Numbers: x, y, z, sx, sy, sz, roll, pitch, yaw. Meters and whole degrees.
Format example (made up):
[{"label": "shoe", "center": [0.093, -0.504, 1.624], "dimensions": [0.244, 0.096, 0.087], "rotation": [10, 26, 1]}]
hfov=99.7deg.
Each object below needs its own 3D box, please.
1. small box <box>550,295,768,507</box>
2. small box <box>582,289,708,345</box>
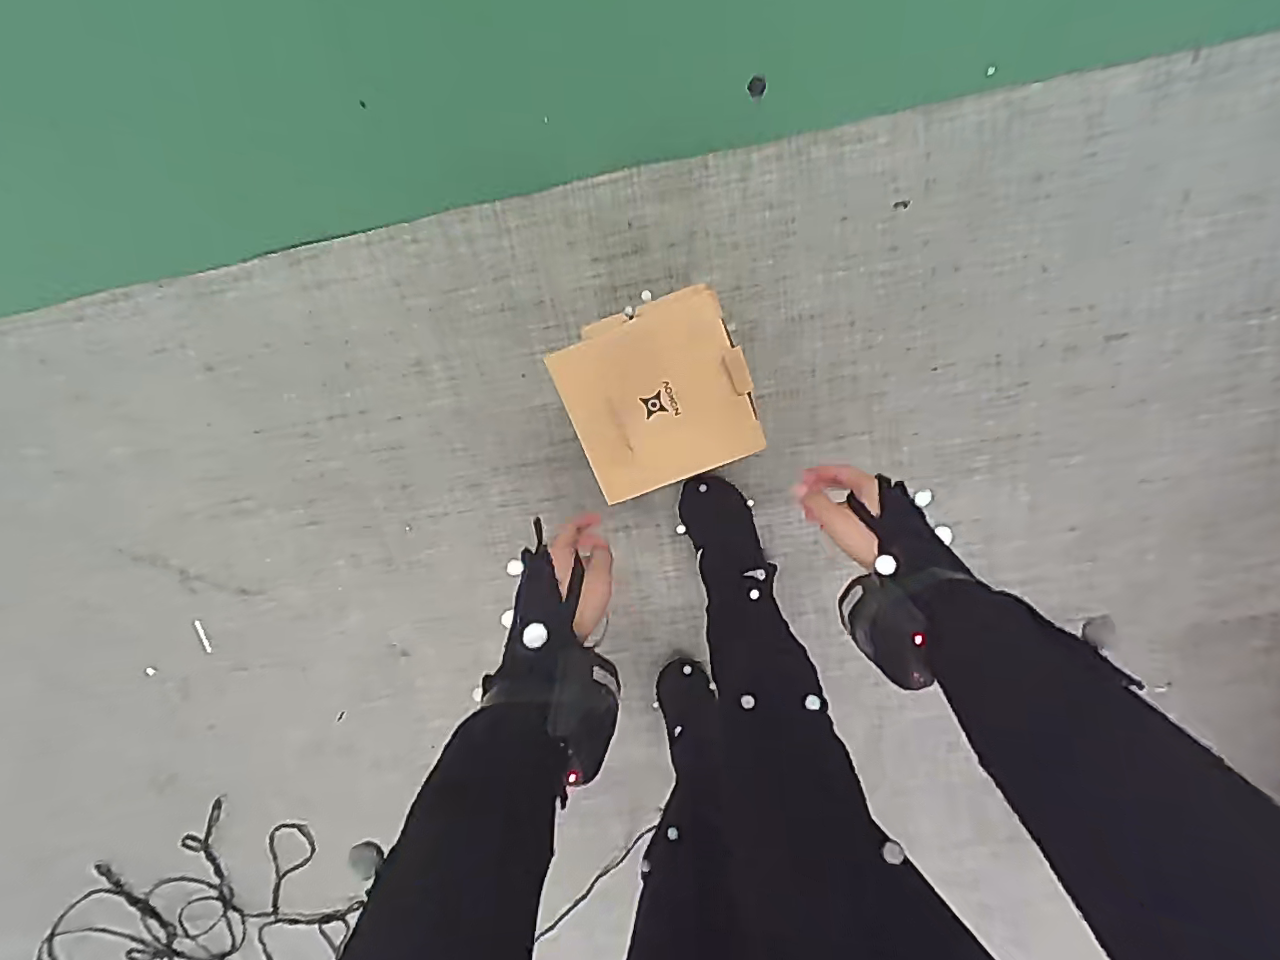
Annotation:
[{"label": "small box", "center": [0.024, -0.096, 0.609], "dimensions": [0.179, 0.176, 0.168], "rotation": [-21, 104, 10]}, {"label": "small box", "center": [0.036, -0.155, 0.759], "dimensions": [0.168, 0.176, 0.179], "rotation": [-18, 105, 8]}]
